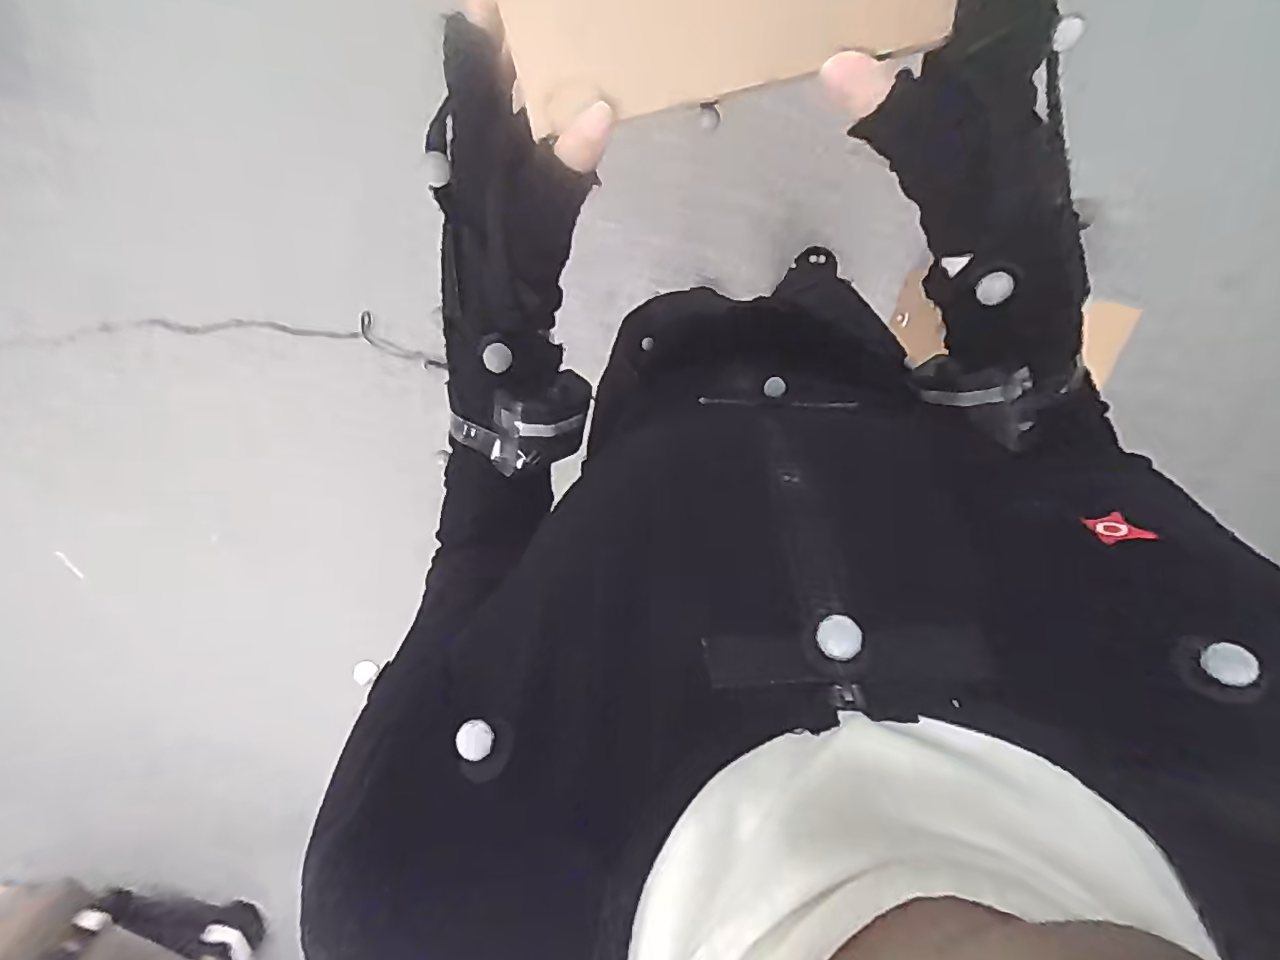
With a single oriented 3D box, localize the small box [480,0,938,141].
[{"bbox_3d":[0.020,-0.273,0.245,0.179,0.176,0.168,-7,125,11],"label":"small box"}]
